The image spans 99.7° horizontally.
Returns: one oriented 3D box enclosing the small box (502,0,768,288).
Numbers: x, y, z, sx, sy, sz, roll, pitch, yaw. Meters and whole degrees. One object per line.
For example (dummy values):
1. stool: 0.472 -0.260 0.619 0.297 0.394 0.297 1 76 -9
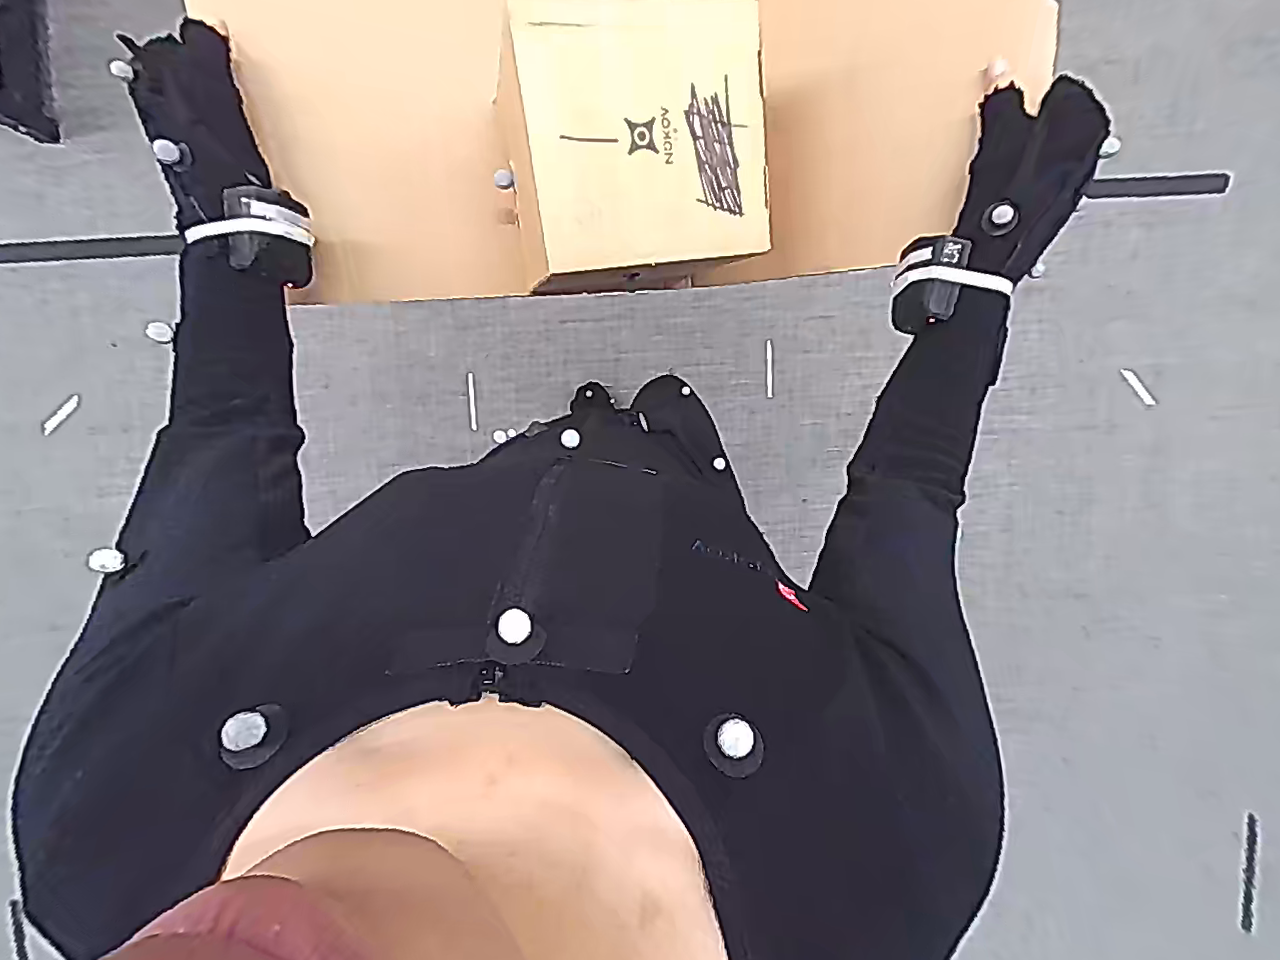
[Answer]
1. small box: -0.012 -0.260 0.455 0.179 0.176 0.168 -11 107 -13
